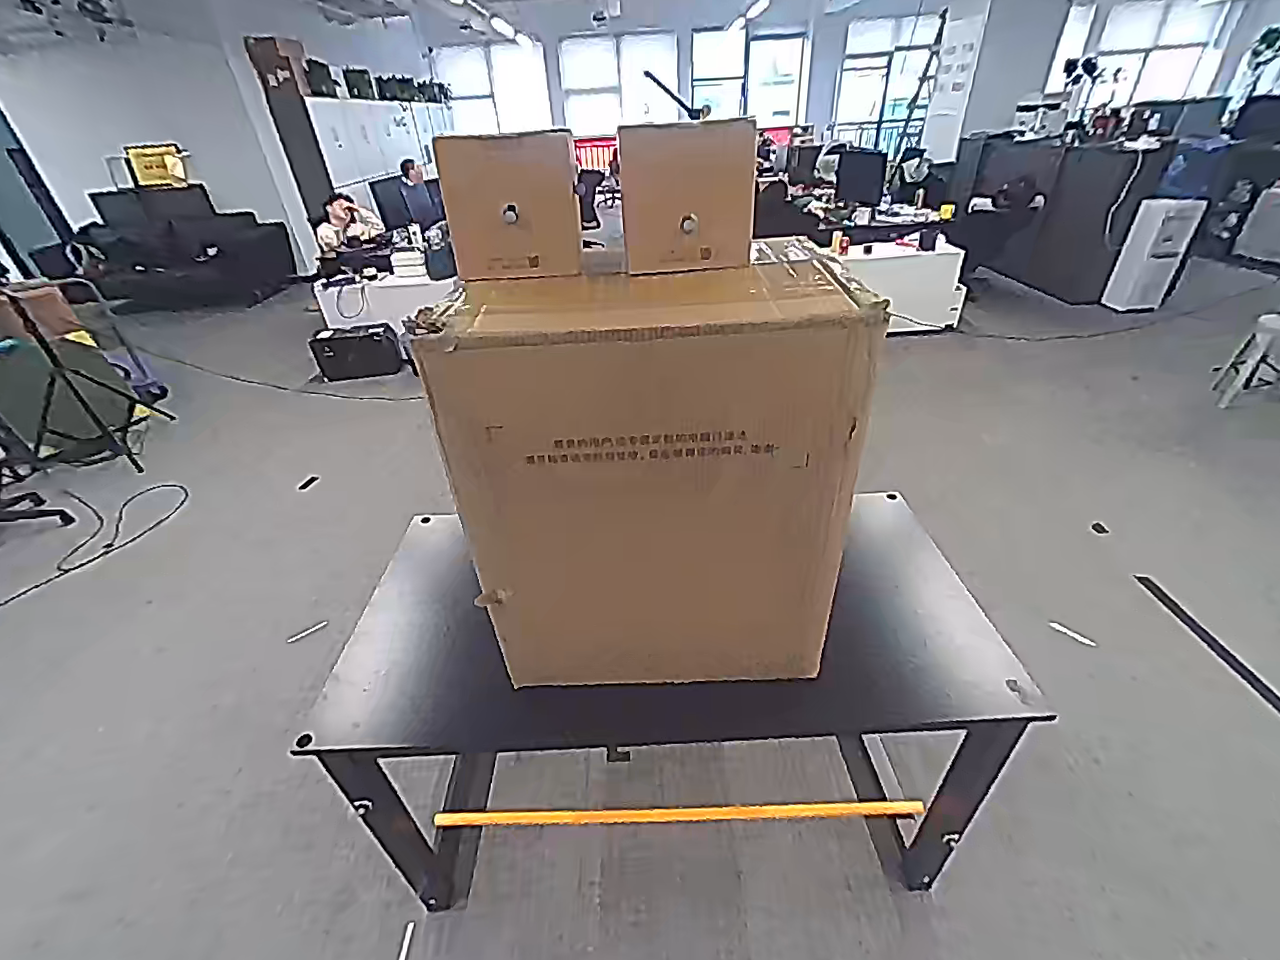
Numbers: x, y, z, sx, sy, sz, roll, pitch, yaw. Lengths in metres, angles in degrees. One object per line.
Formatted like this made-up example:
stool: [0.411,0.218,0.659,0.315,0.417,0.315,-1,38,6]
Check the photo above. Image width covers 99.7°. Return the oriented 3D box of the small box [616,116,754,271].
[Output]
small box: [0.054,-0.392,0.744,0.168,0.176,0.179,-5,32,0]

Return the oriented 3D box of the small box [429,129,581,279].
small box: [-0.173,-0.383,0.756,0.168,0.176,0.179,-4,33,-3]
